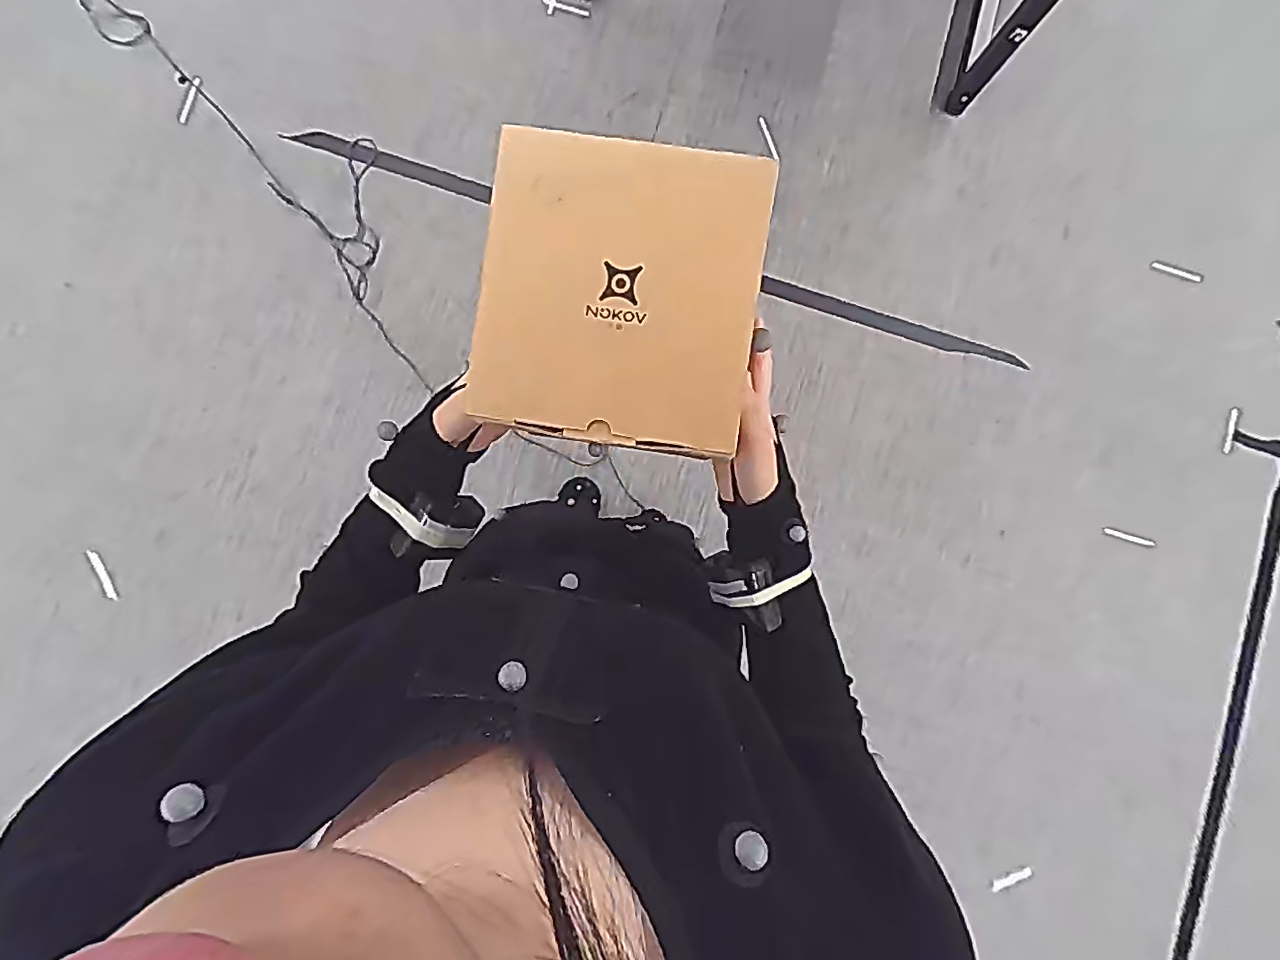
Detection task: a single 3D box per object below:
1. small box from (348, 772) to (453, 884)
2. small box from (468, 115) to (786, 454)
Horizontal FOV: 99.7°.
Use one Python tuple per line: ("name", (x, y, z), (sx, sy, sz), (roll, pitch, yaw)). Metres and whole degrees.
("small box", (-0.587, 0.855, 1.345), (0.179, 0.176, 0.168), (9, 88, -3))
("small box", (-0.007, -0.116, 0.392), (0.168, 0.176, 0.179), (8, 93, 1))
